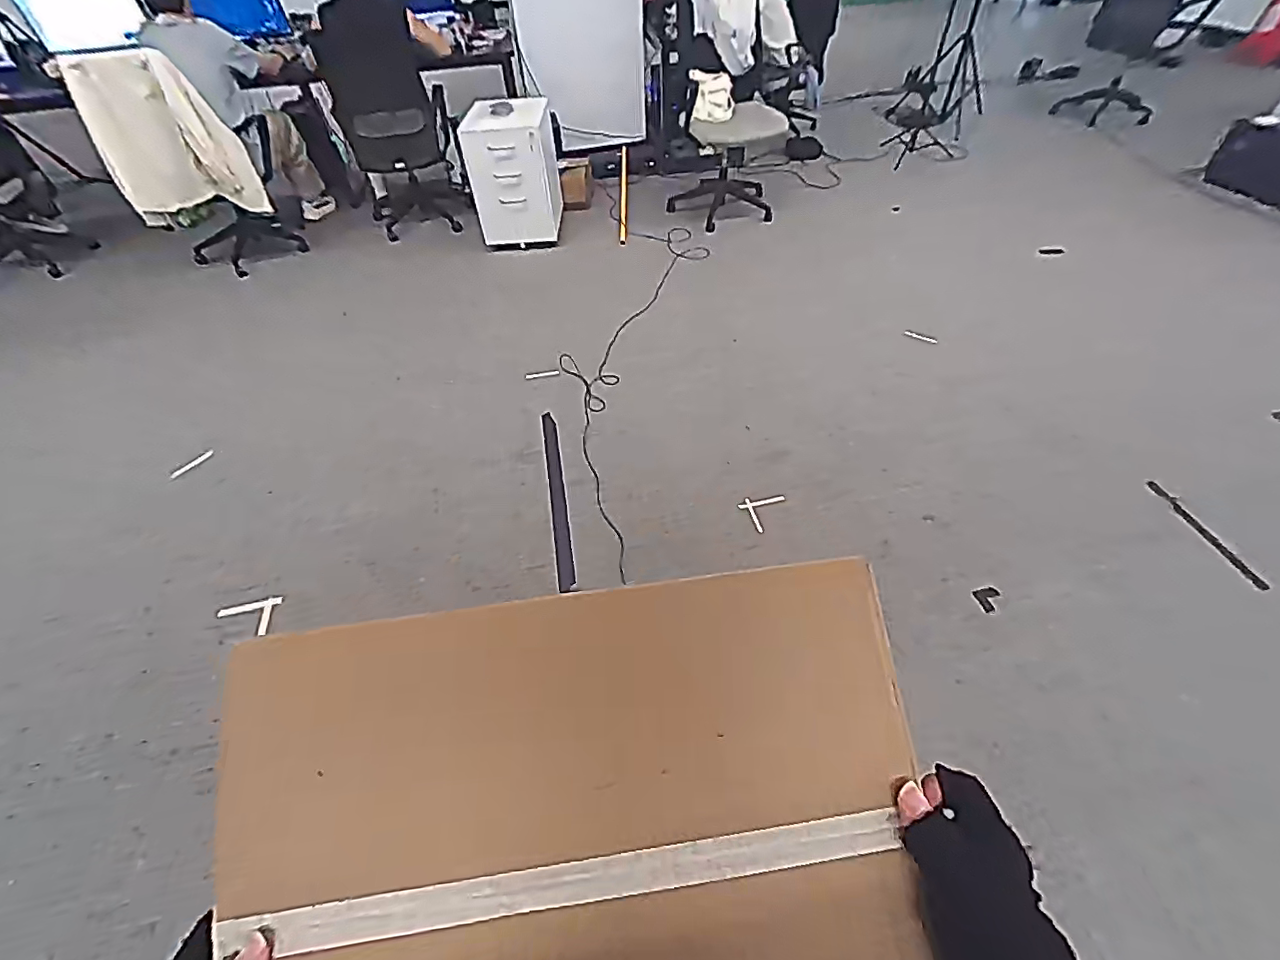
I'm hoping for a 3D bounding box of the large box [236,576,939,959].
[{"bbox_3d":[-0.035,0.272,0.463,0.408,0.320,0.320,-7,76,-3],"label":"large box"}]
